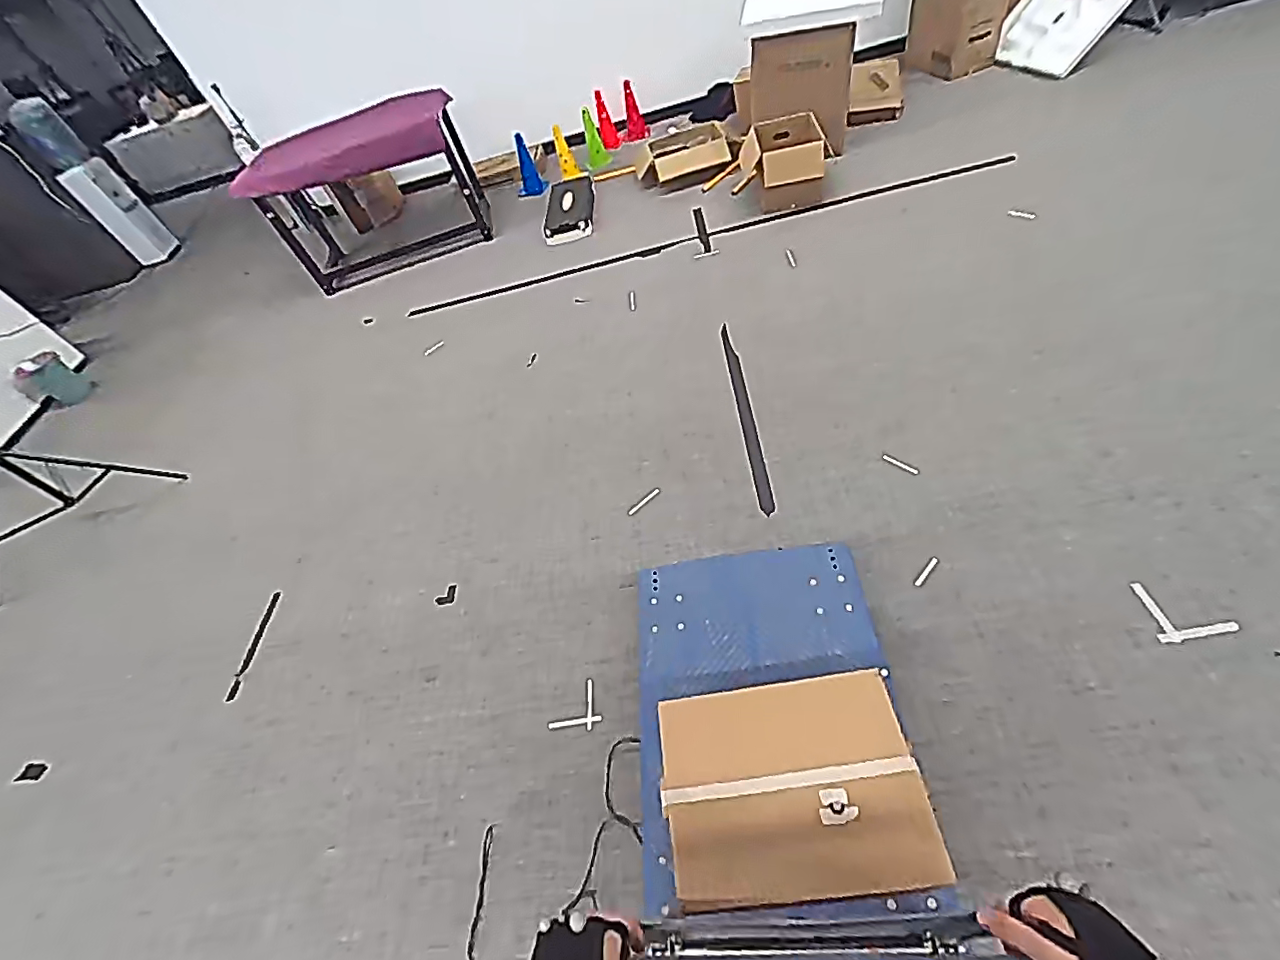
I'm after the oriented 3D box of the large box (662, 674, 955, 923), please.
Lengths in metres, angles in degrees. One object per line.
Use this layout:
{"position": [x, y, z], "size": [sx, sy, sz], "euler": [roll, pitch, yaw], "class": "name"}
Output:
{"position": [0.275, 0.595, 0.997], "size": [0.408, 0.320, 0.320], "euler": [-11, 50, 6], "class": "large box"}
